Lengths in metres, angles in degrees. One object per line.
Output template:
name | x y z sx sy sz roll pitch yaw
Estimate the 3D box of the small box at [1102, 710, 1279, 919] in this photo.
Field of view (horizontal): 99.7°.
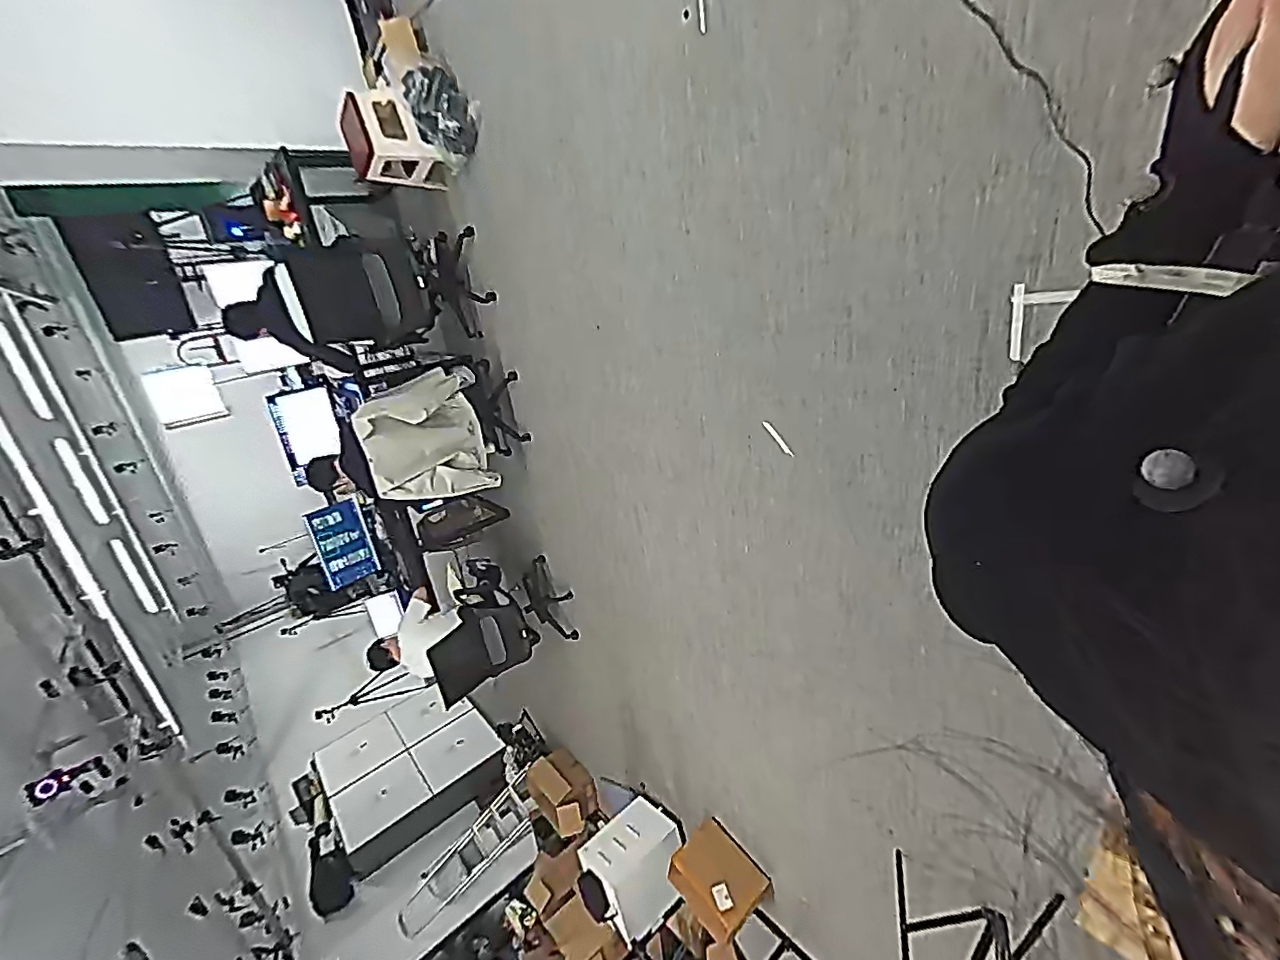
small box | 0.859 0.505 0.841 0.168 0.176 0.179 17 121 47
